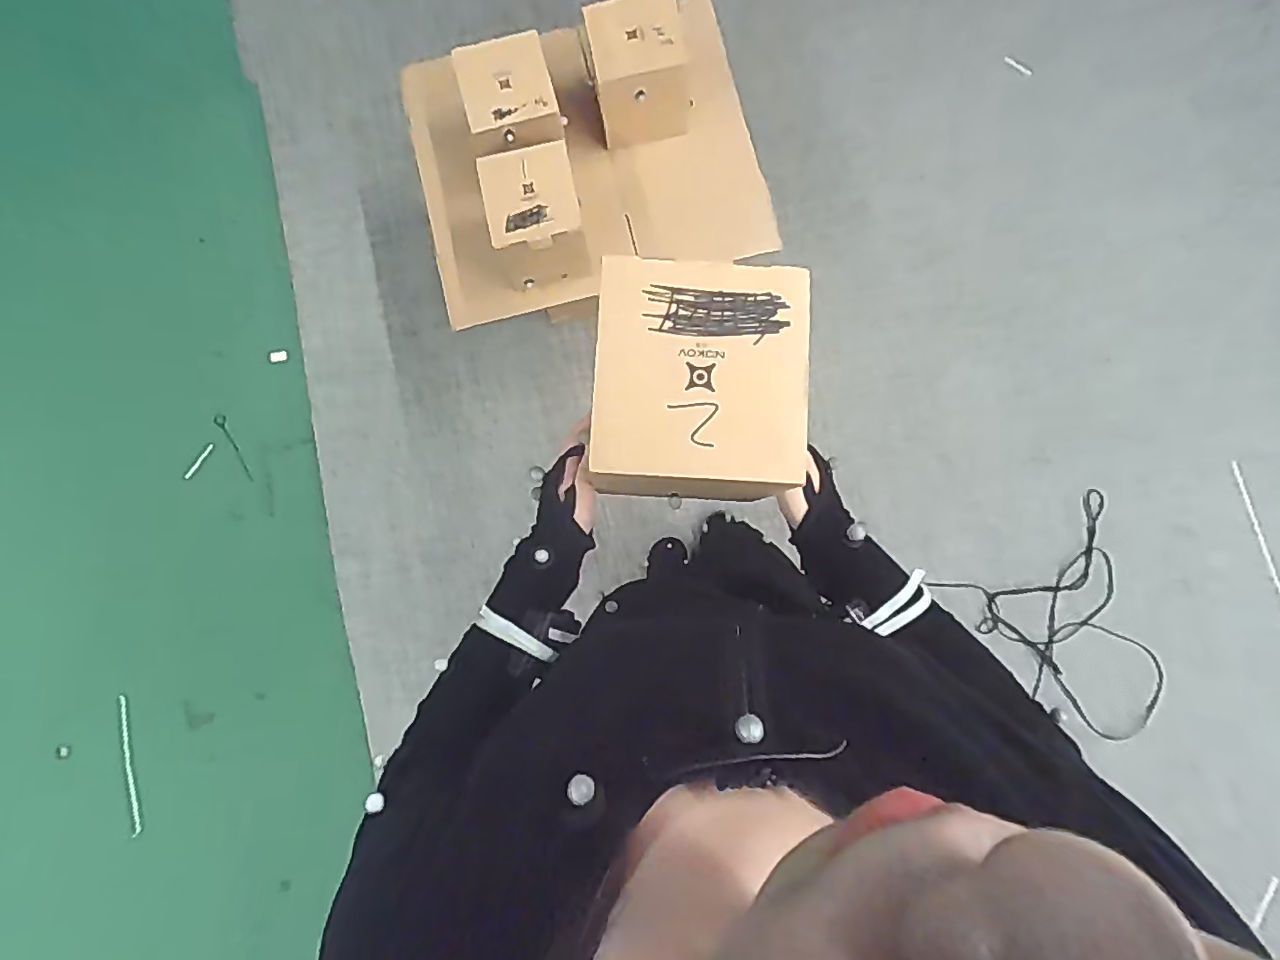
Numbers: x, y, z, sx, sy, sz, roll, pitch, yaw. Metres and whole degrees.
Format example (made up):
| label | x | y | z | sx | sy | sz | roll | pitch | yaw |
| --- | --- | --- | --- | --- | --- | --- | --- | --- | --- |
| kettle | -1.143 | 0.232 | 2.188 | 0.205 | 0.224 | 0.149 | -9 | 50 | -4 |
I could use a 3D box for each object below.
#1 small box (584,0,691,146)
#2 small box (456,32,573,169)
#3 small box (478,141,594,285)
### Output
| label | x | y | z | sx | sy | sz | roll | pitch | yaw |
| --- | --- | --- | --- | --- | --- | --- | --- | --- | --- |
| small box | 0.001 | -0.795 | 1.060 | 0.179 | 0.176 | 0.168 | -11 | 83 | 2 |
| small box | -0.238 | -0.709 | 1.057 | 0.168 | 0.176 | 0.179 | -15 | 82 | 0 |
| small box | -0.189 | -0.493 | 1.030 | 0.168 | 0.176 | 0.179 | -12 | 83 | 0 |
